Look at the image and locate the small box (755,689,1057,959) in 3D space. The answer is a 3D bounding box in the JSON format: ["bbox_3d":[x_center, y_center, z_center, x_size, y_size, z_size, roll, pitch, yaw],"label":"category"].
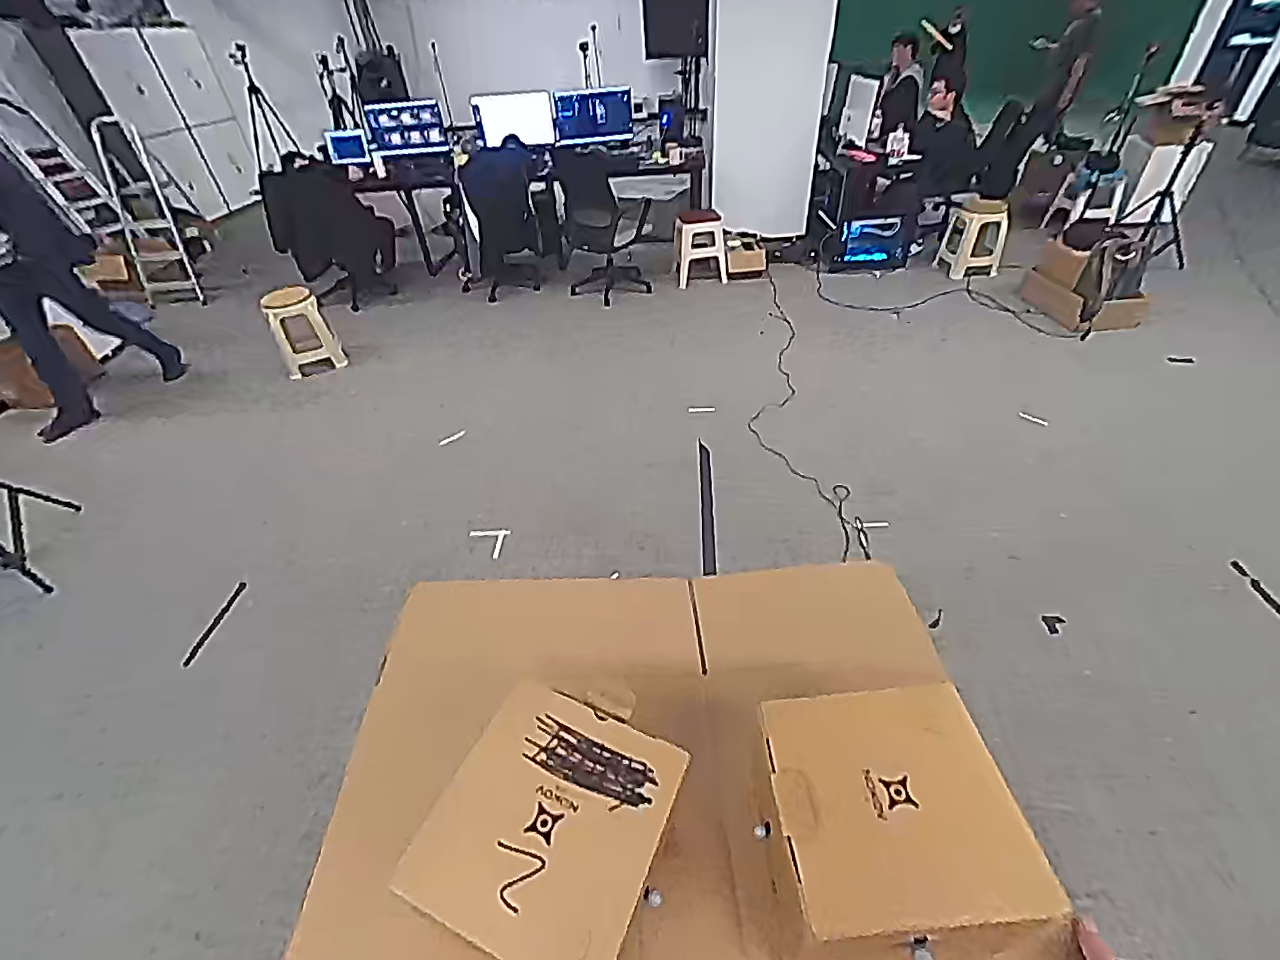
[{"bbox_3d":[0.208,0.312,0.487,0.179,0.176,0.168,-7,40,1],"label":"small box"}]
